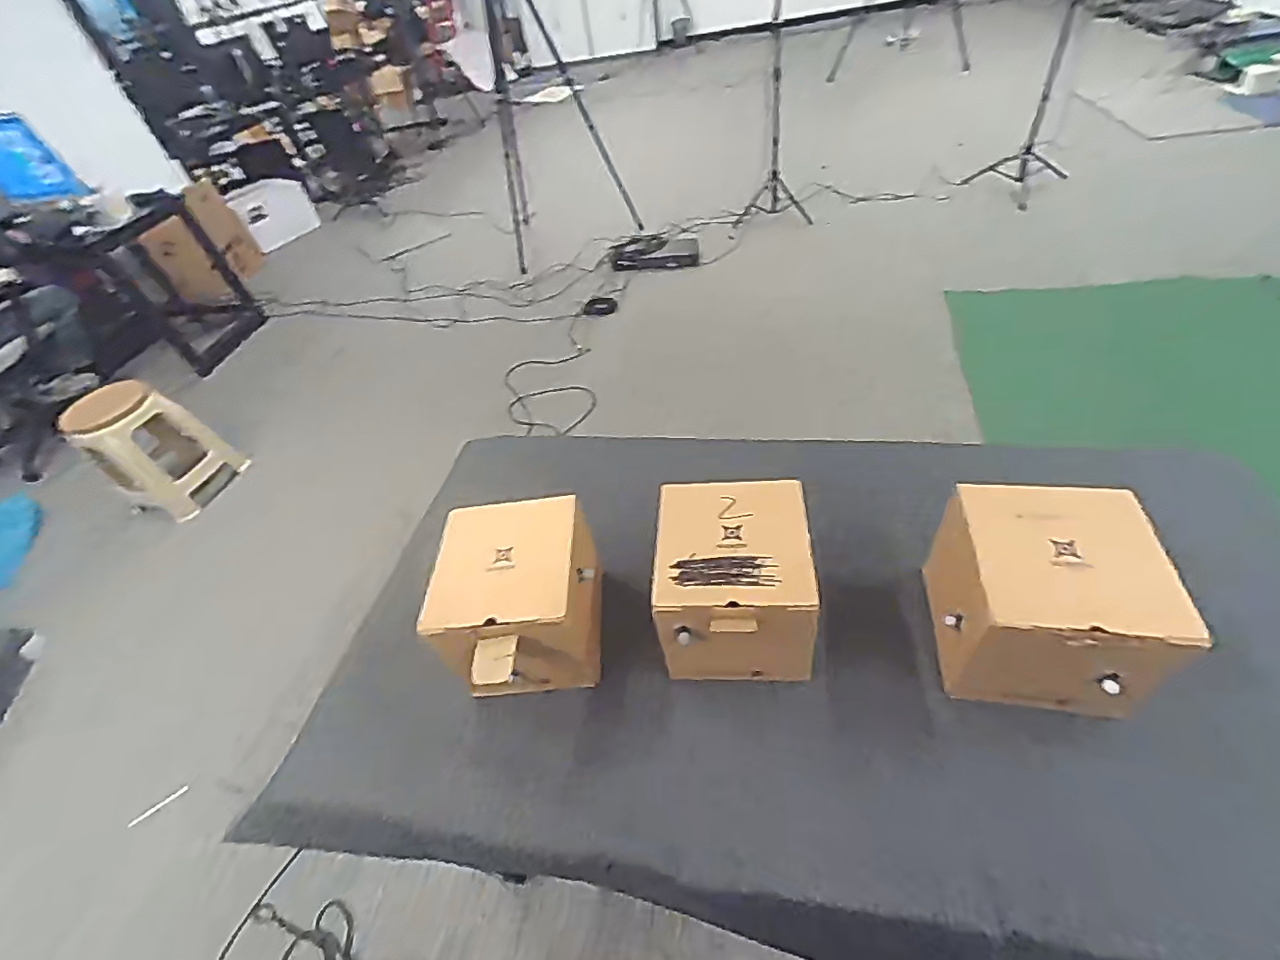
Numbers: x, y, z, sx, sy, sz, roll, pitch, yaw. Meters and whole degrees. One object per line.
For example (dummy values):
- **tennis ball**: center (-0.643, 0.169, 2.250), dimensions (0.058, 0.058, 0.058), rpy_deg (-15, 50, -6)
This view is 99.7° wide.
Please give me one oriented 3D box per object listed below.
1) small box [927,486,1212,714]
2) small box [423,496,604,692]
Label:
- **small box**: center (0.426, 0.128, 0.579), dimensions (0.168, 0.176, 0.179), rpy_deg (3, 46, 13)
- **small box**: center (-0.142, 0.145, 0.682), dimensions (0.168, 0.176, 0.179), rpy_deg (-7, 46, 5)
